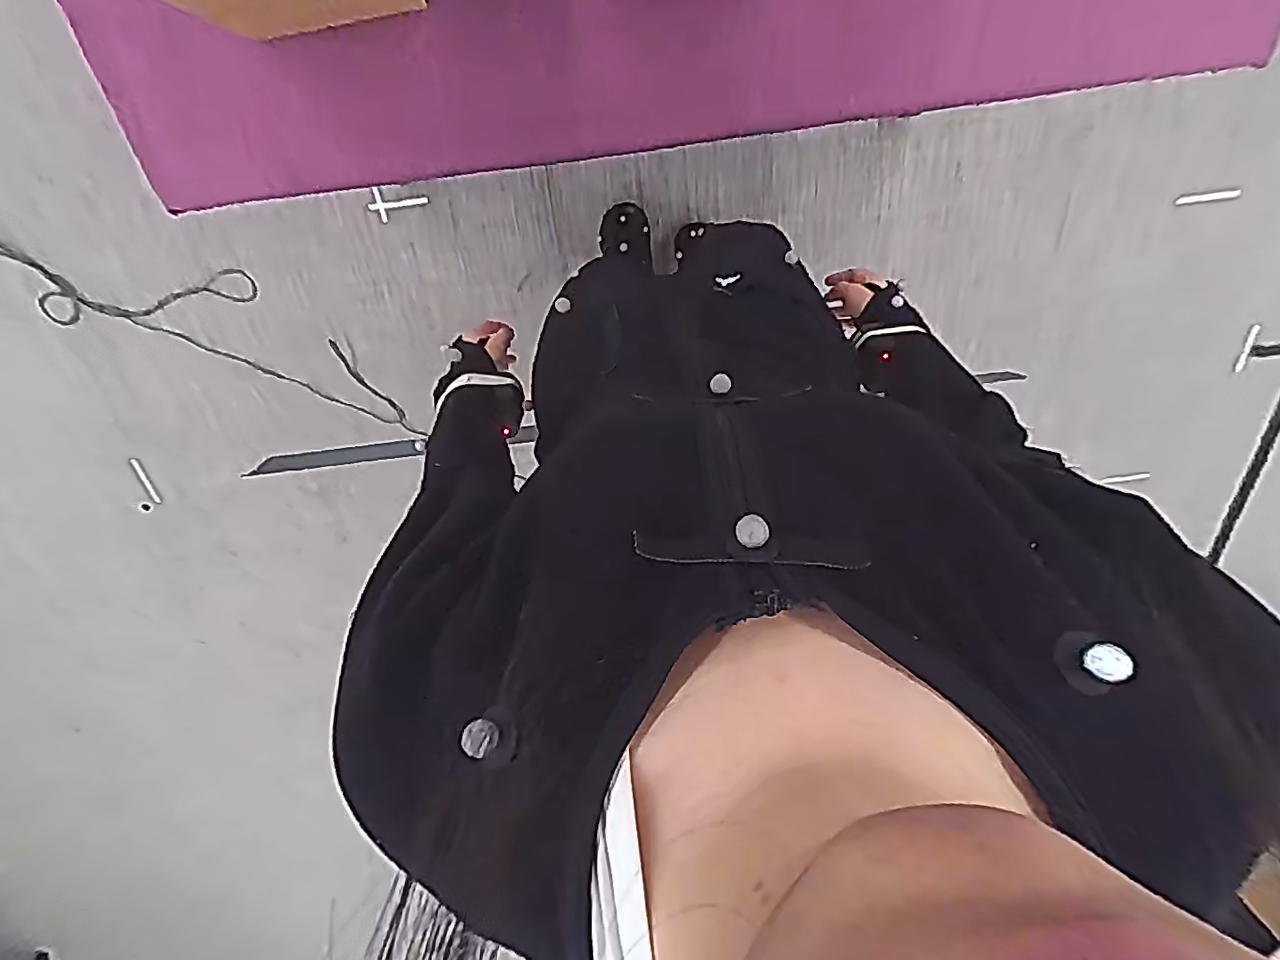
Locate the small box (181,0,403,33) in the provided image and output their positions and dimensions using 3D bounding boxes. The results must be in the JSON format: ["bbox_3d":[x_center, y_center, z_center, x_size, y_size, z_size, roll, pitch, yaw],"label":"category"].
[{"bbox_3d":[-0.295,-0.476,0.411,0.179,0.176,0.168,-10,117,1],"label":"small box"}]
